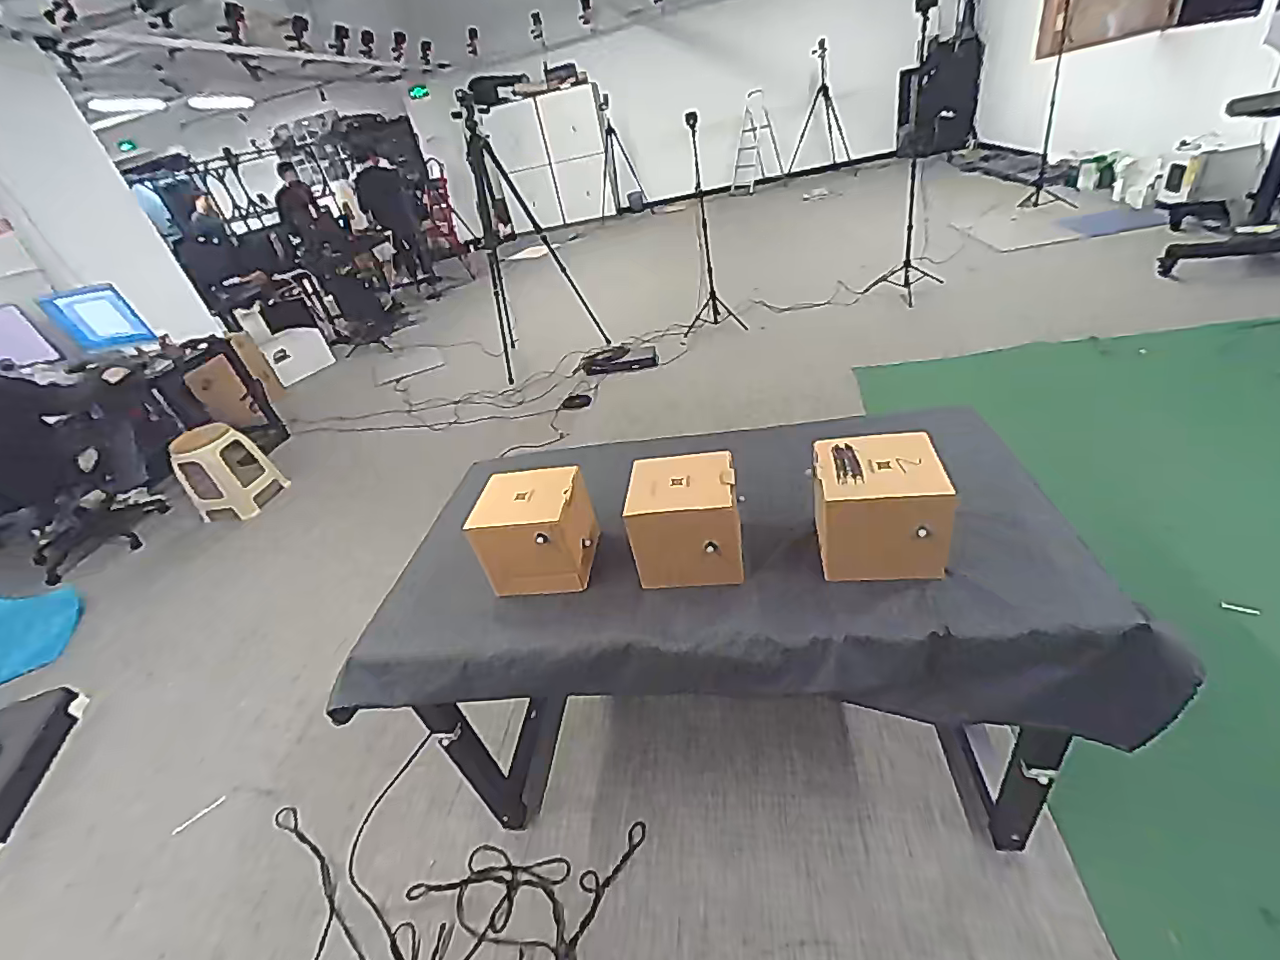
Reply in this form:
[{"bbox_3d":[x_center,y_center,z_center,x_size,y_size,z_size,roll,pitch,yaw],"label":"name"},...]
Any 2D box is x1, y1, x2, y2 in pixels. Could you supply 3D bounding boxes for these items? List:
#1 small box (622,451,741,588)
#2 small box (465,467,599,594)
[{"bbox_3d":[0.082,0.071,0.945,0.179,0.176,0.168,-7,33,13],"label":"small box"},{"bbox_3d":[-0.190,0.097,1.007,0.179,0.176,0.168,-6,34,11],"label":"small box"}]
